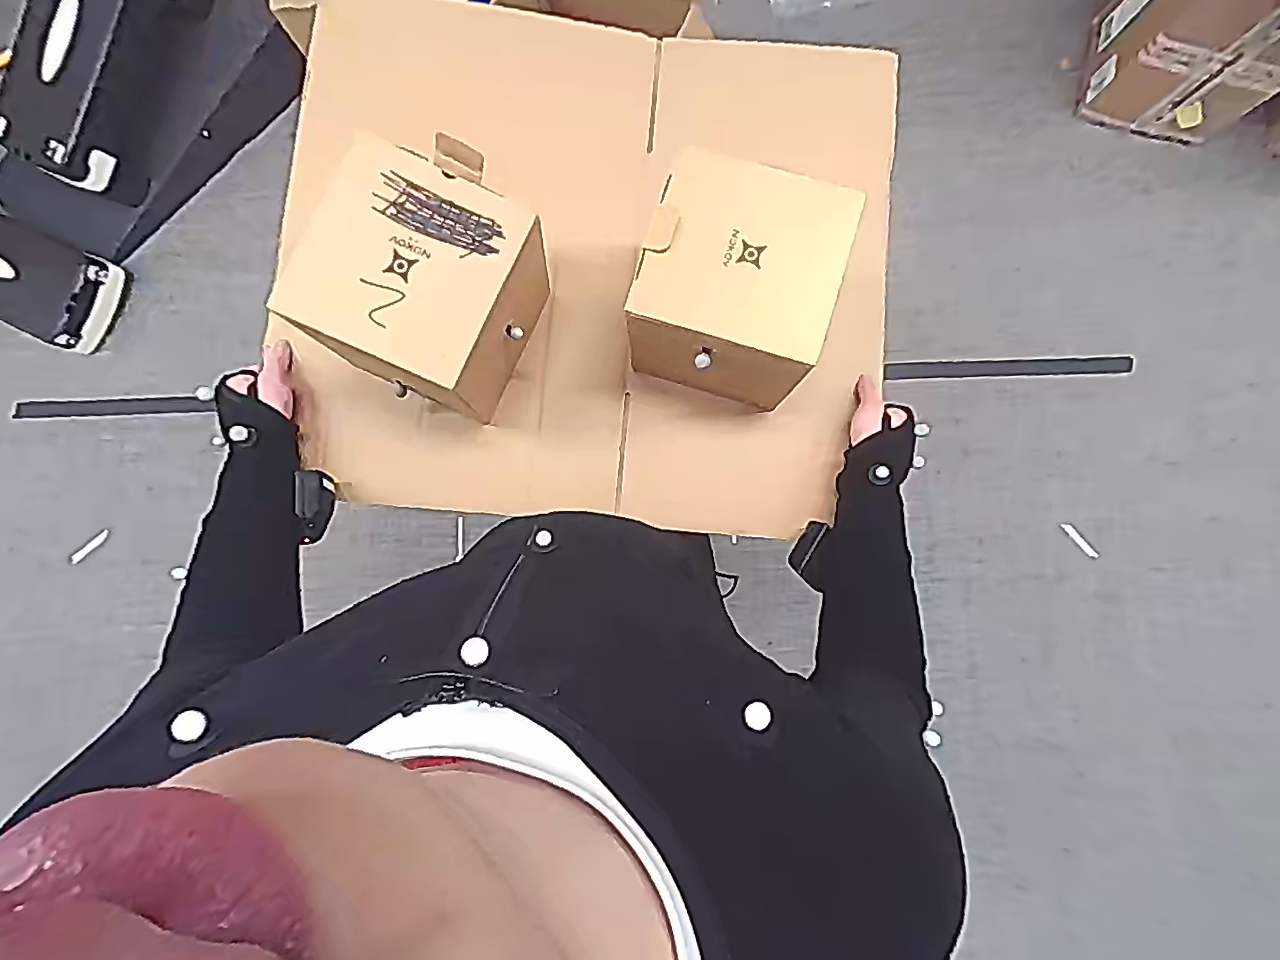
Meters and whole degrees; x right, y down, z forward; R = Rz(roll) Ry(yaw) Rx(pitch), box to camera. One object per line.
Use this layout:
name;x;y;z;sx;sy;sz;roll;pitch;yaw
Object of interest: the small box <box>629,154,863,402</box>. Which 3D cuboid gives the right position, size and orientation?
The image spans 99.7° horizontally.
small box;0.099;-0.192;0.567;0.179;0.176;0.168;17;85;5
